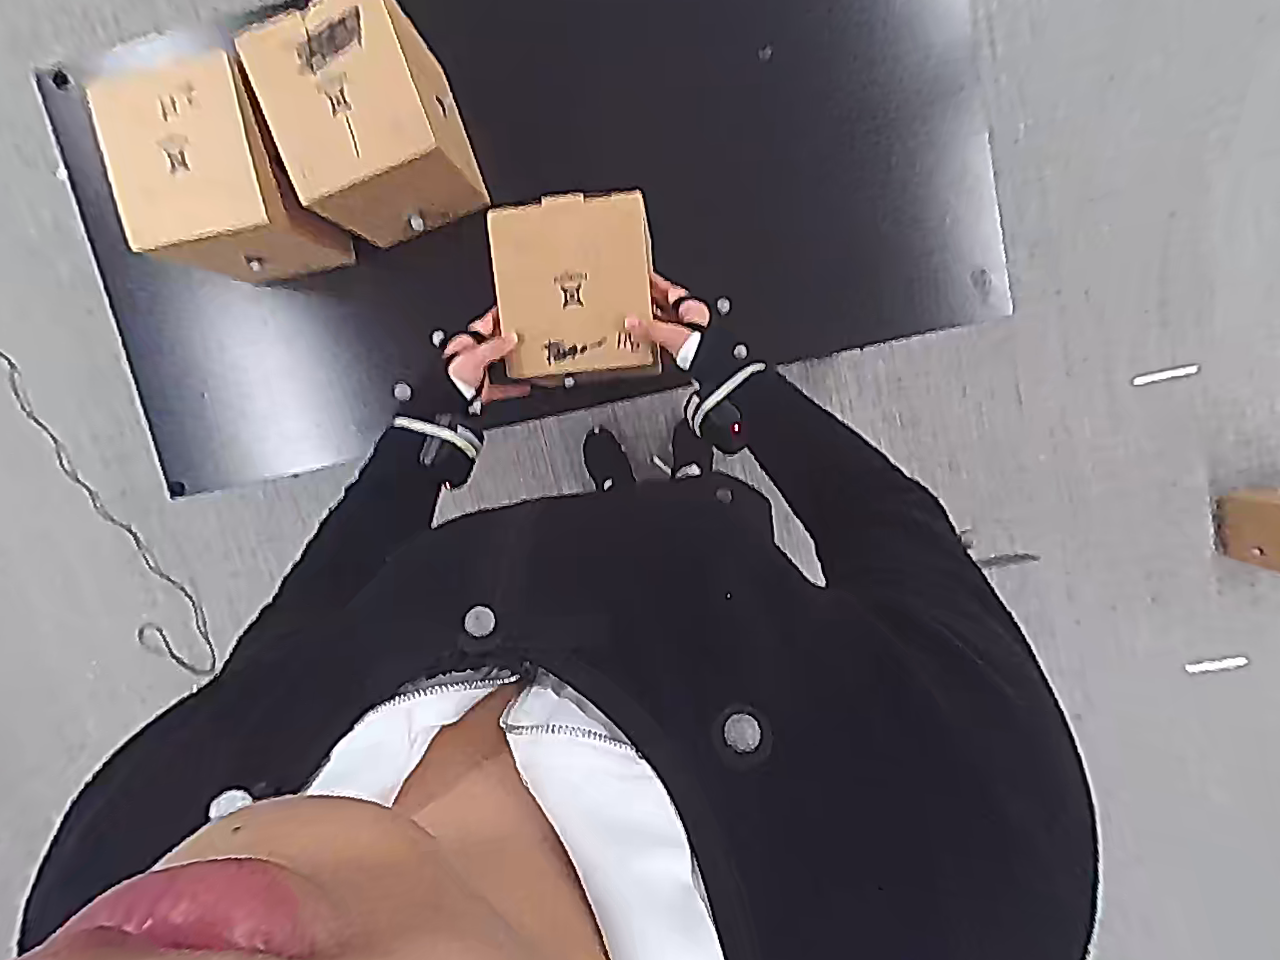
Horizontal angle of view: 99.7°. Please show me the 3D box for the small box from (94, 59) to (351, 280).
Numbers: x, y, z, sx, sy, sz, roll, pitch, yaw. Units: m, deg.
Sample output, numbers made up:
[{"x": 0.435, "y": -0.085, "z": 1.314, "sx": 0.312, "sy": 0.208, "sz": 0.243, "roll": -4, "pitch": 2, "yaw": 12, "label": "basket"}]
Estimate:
[{"x": -0.489, "y": -0.357, "z": 0.663, "sx": 0.168, "sy": 0.176, "sz": 0.179, "roll": -9, "pitch": 96, "yaw": 4, "label": "small box"}]

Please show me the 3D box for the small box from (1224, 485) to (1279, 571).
[{"x": 1.585, "y": 0.117, "z": 1.307, "sx": 0.168, "sy": 0.176, "sz": 0.179, "roll": -13, "pitch": 95, "yaw": 5, "label": "small box"}]

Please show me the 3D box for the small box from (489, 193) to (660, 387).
[{"x": -0.067, "y": -0.213, "z": 0.651, "sx": 0.168, "sy": 0.176, "sz": 0.179, "roll": -5, "pitch": 95, "yaw": 5, "label": "small box"}]
